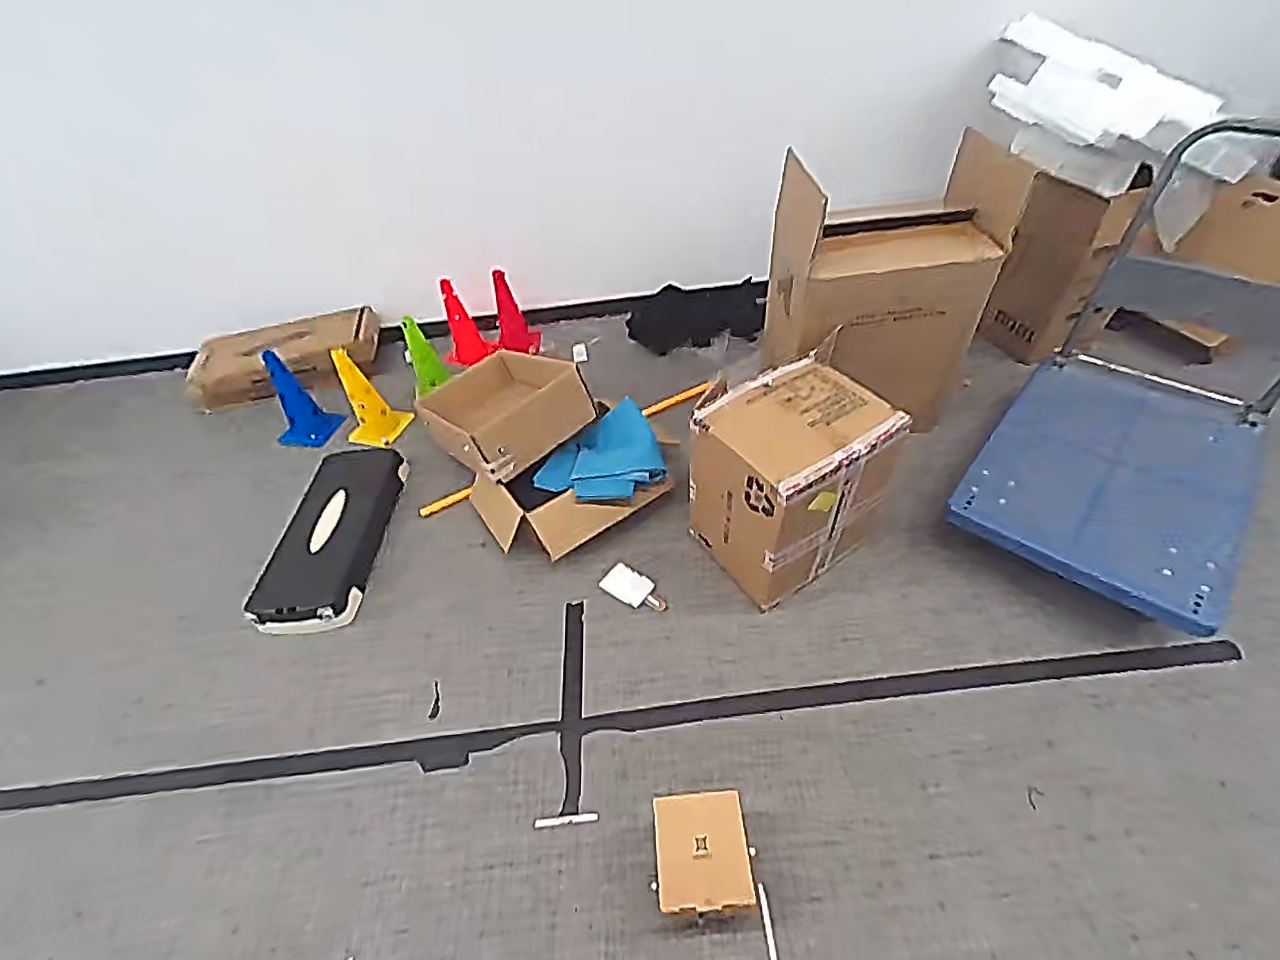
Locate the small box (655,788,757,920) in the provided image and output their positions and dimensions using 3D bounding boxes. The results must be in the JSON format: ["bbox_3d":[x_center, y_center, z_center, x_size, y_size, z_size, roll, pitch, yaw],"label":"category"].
[{"bbox_3d":[0.117,0.711,1.028,0.168,0.176,0.179,-6,47,0],"label":"small box"}]
